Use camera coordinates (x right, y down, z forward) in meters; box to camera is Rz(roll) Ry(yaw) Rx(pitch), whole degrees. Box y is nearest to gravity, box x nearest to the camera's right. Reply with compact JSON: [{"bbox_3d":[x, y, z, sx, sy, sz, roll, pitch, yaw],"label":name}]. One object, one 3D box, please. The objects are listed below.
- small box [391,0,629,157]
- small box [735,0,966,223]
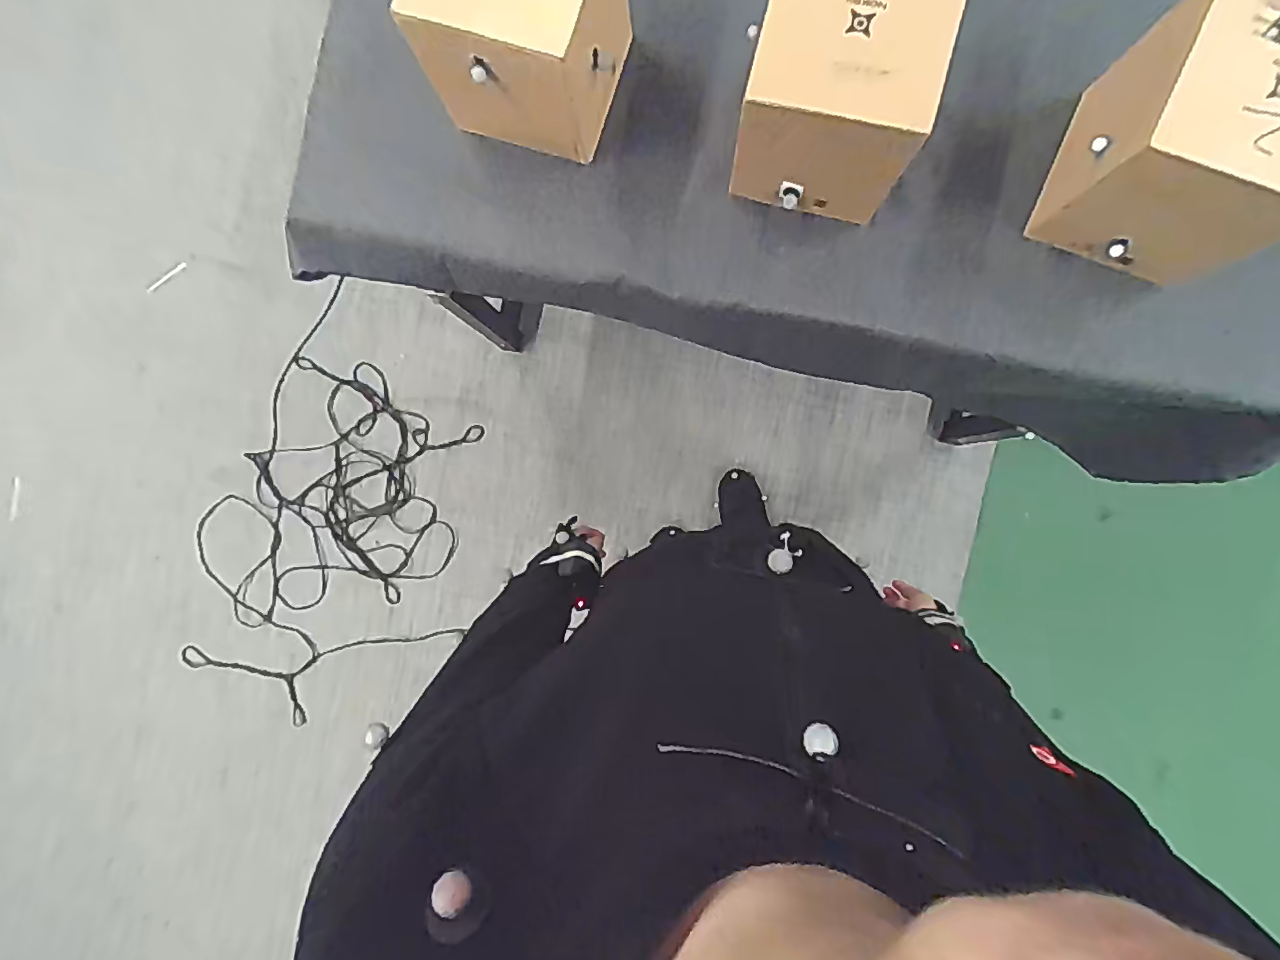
[{"bbox_3d":[-0.118,-0.479,0.569,0.179,0.176,0.168,18,90,4],"label":"small box"},{"bbox_3d":[0.198,-0.398,0.549,0.168,0.176,0.179,13,91,5],"label":"small box"}]
